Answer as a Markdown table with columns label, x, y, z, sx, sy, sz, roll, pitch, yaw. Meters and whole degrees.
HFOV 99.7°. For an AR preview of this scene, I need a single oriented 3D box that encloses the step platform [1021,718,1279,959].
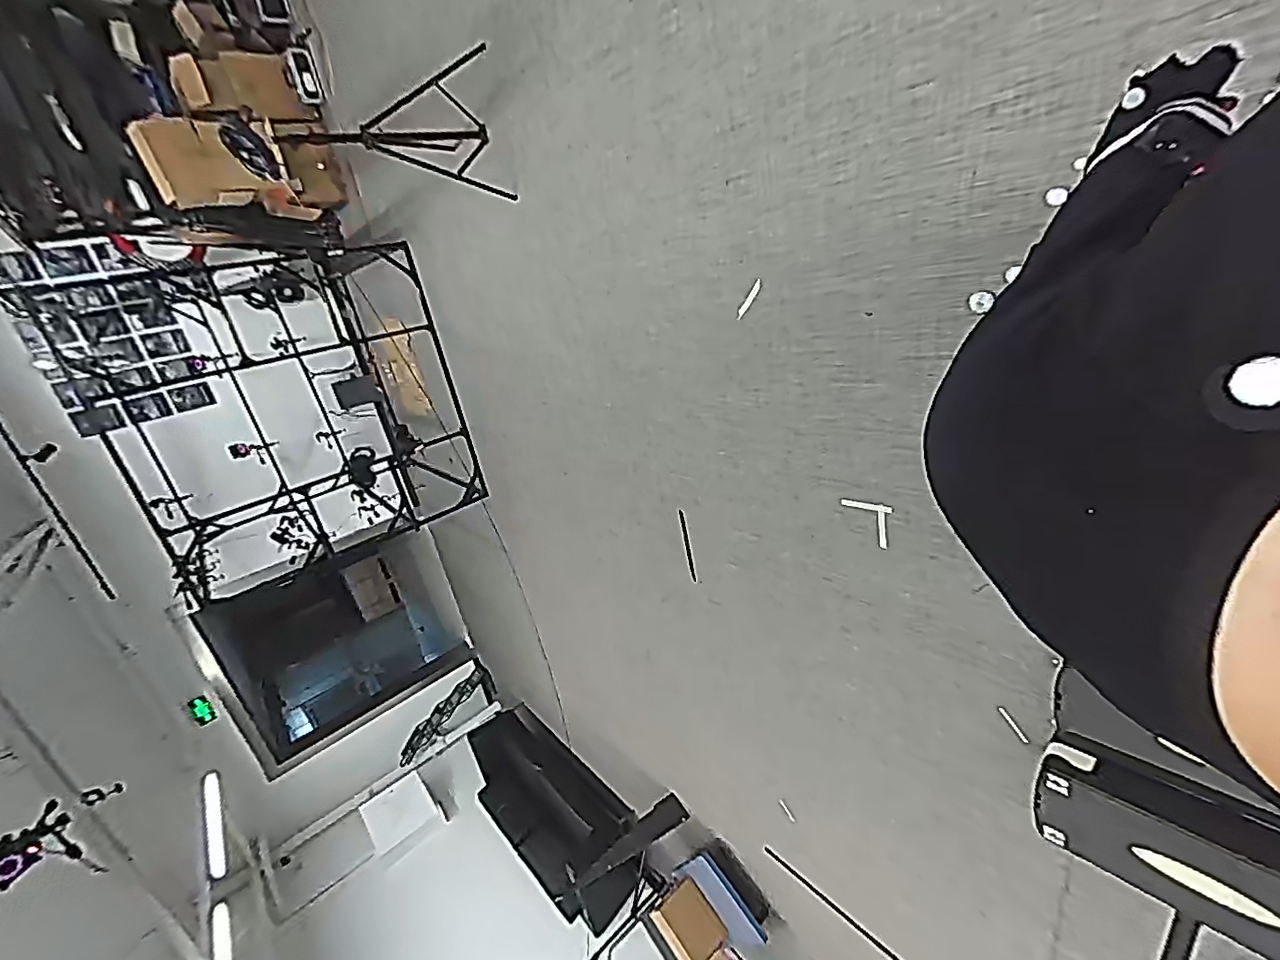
| label | x | y | z | sx | sy | sz | roll | pitch | yaw |
| --- | --- | --- | --- | --- | --- | --- | --- | --- | --- |
| step platform | 1.349 | 0.889 | 1.320 | 0.684 | 0.204 | 0.286 | 14 | 123 | 51 |
